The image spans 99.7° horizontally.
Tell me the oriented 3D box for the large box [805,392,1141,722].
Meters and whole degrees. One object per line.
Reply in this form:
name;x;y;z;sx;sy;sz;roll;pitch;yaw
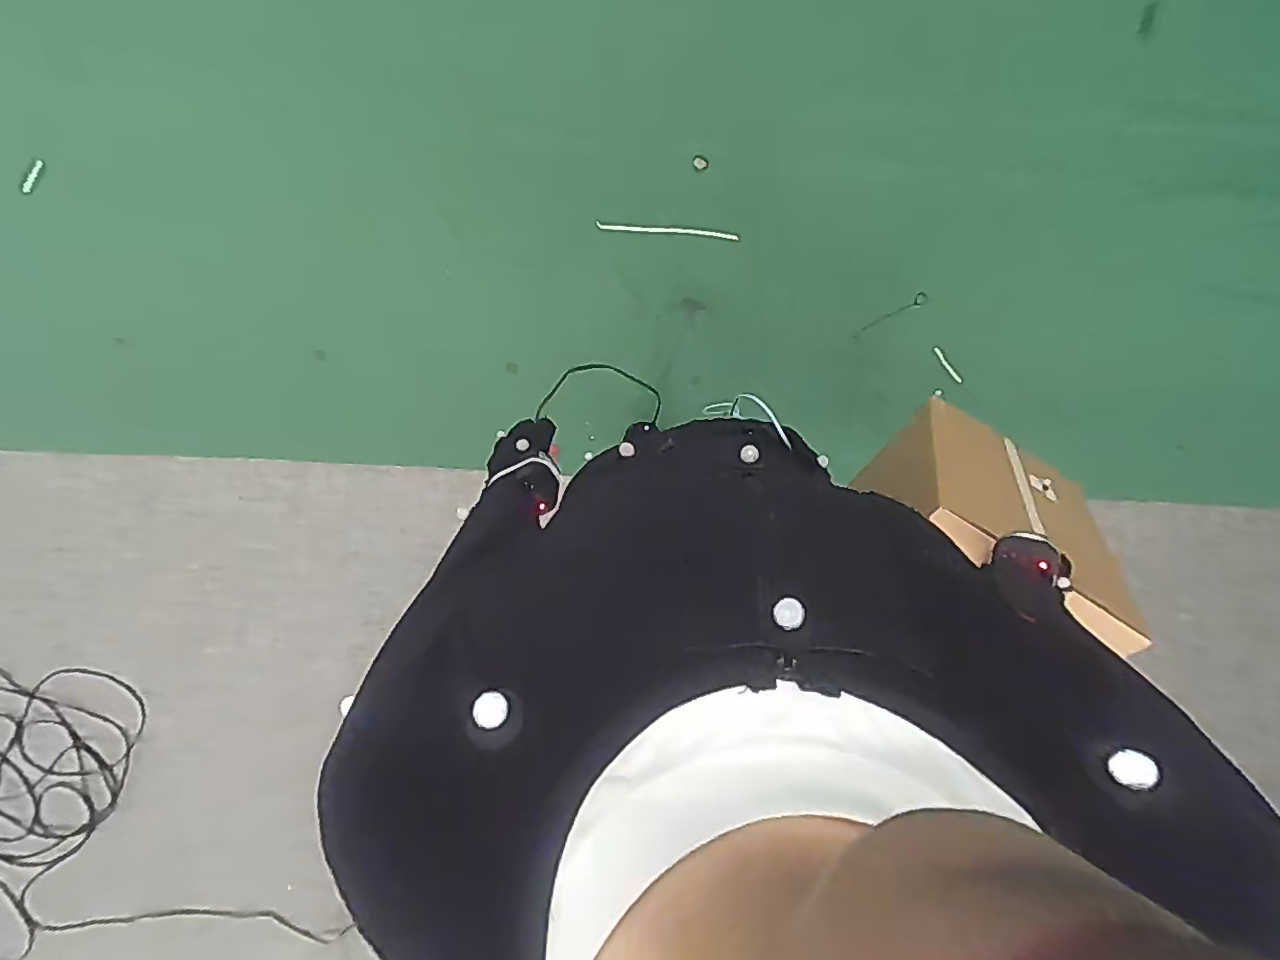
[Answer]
large box;0.522;0.116;0.937;0.320;0.408;0.320;35;128;3
